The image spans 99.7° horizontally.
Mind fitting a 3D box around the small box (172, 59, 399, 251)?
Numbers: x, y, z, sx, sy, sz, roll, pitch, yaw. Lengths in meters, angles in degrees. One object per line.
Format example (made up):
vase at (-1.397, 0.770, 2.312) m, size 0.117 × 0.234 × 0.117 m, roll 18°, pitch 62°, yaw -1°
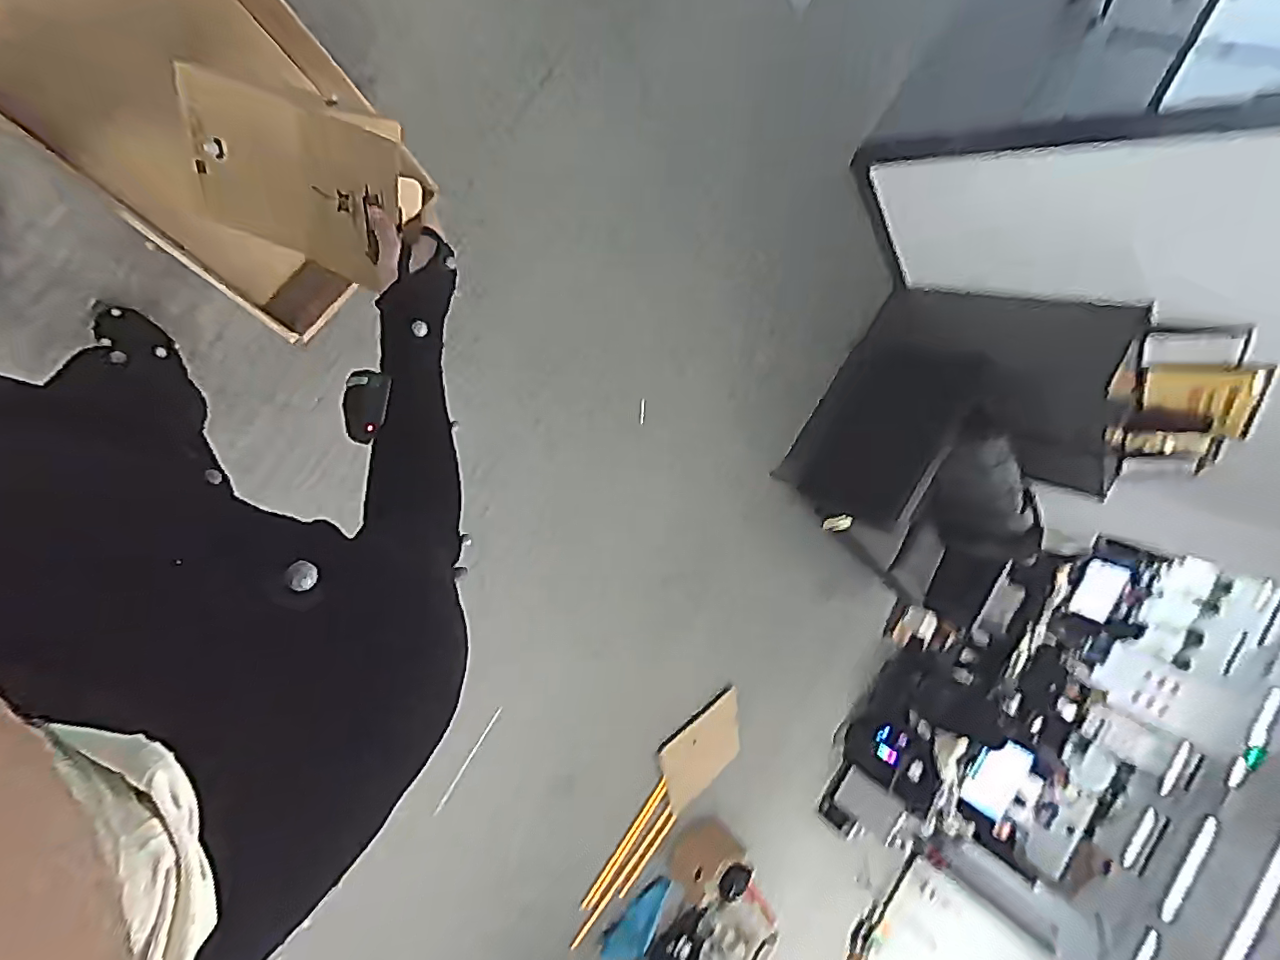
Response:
small box at (-0.446, -0.414, 0.703) m, size 0.179 × 0.176 × 0.168 m, roll -56°, pitch 166°, yaw -59°
